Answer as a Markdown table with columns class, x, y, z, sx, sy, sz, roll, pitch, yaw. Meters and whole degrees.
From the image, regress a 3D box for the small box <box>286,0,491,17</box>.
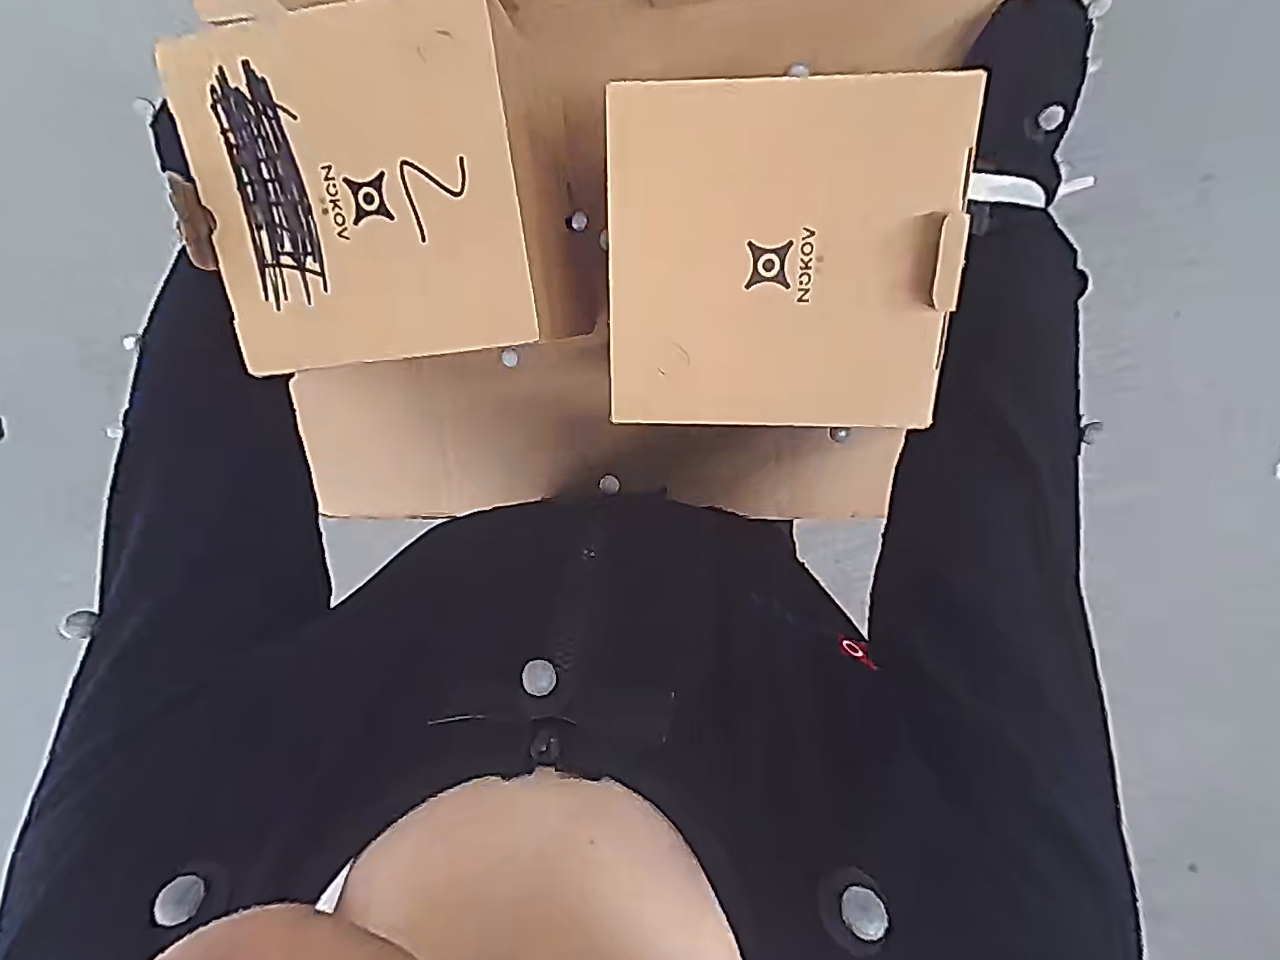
| class | x | y | z | sx | sy | sz | roll | pitch | yaw |
| --- | --- | --- | --- | --- | --- | --- | --- | --- | --- |
| small box | -0.187 | -0.410 | 0.308 | 0.168 | 0.176 | 0.179 | -3 | 100 | 5 |
